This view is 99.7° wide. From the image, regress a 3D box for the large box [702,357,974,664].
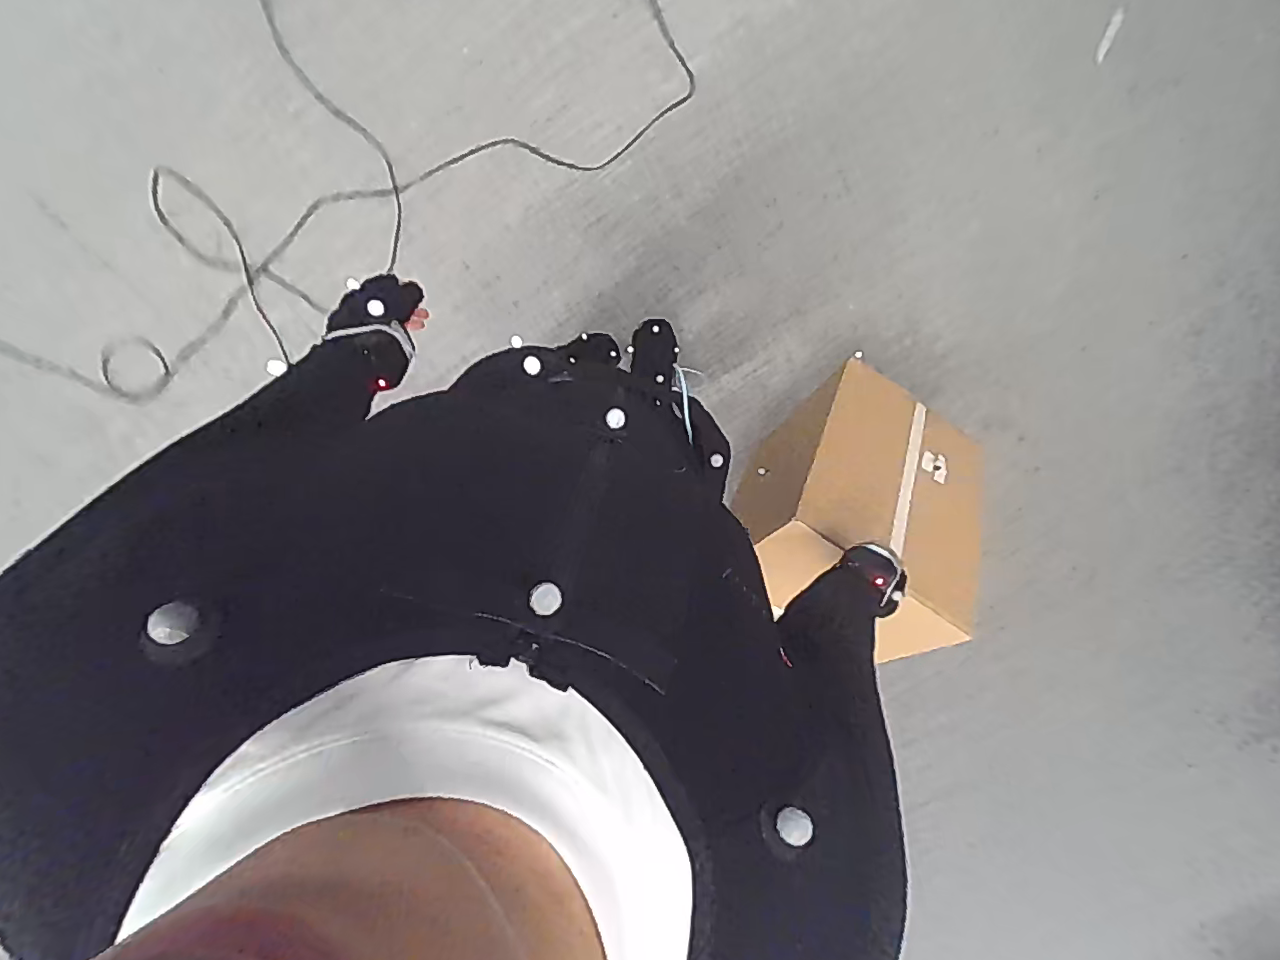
[{"bbox_3d":[0.365,0.063,1.002,0.320,0.408,0.320,34,143,-4],"label":"large box"}]
